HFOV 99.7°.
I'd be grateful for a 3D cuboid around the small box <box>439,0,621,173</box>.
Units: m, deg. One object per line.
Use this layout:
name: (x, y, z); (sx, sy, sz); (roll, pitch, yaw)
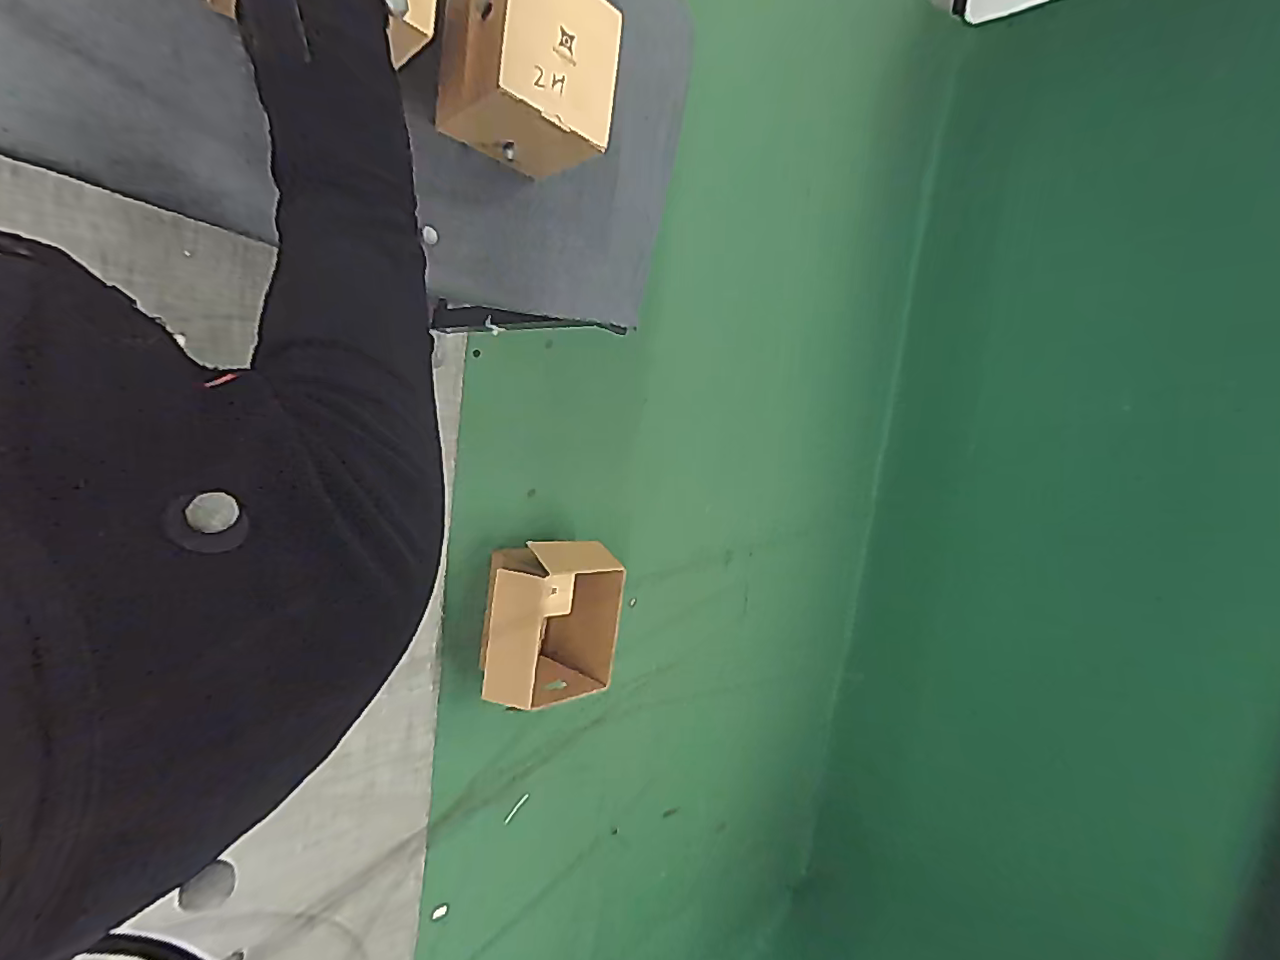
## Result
small box: (-0.149, -0.544, 0.715); (0.168, 0.176, 0.179); (2, 98, -45)
